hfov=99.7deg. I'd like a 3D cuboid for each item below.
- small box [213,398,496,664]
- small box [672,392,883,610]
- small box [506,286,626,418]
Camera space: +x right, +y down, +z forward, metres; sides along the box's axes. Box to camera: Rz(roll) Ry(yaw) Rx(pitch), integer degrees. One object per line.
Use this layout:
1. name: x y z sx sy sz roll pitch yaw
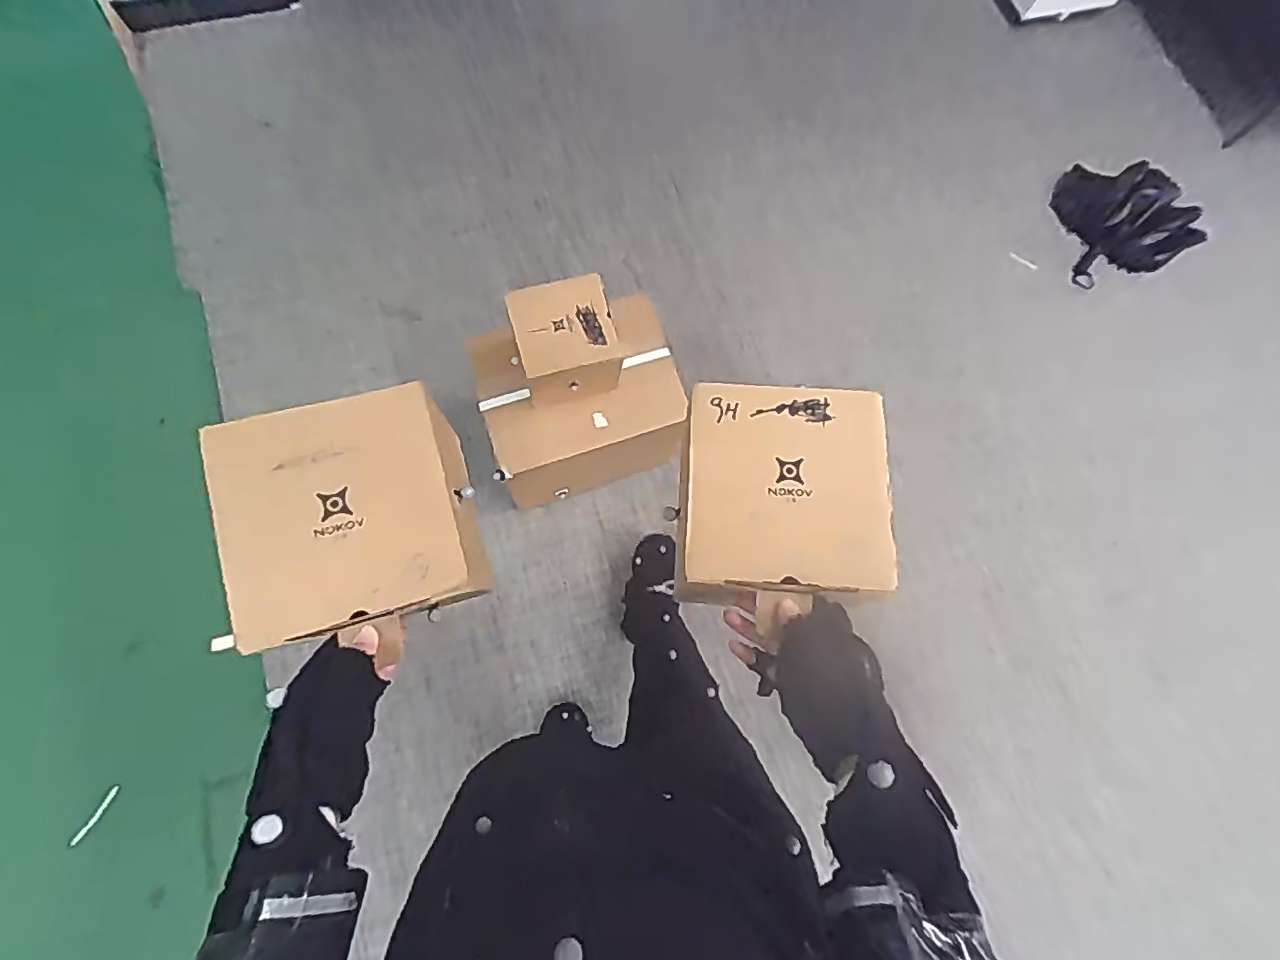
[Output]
1. small box: -0.242 0.050 0.501 0.168 0.176 0.179 -17 80 -11
2. small box: 0.118 0.031 0.529 0.168 0.176 0.179 3 73 2
3. small box: -0.141 -0.236 1.030 0.179 0.176 0.168 -19 83 -10
